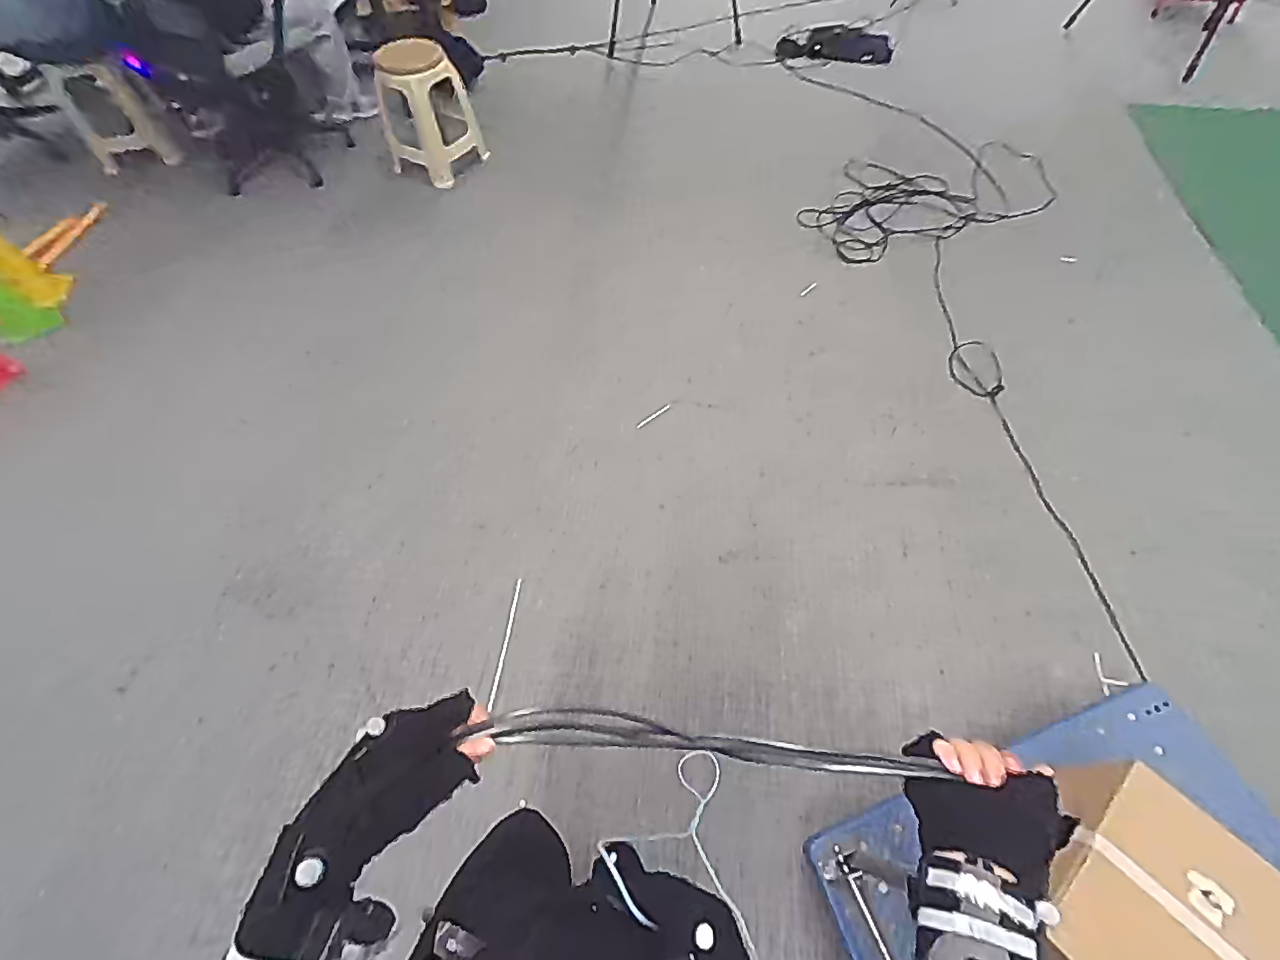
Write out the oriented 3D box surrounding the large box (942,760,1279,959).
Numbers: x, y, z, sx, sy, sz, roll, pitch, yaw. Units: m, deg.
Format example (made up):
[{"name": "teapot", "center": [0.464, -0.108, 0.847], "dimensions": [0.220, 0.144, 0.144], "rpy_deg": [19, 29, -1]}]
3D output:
[{"name": "large box", "center": [0.798, 0.729, 0.854], "dimensions": [0.320, 0.320, 0.408], "rpy_deg": [-38, 64, -19]}]
